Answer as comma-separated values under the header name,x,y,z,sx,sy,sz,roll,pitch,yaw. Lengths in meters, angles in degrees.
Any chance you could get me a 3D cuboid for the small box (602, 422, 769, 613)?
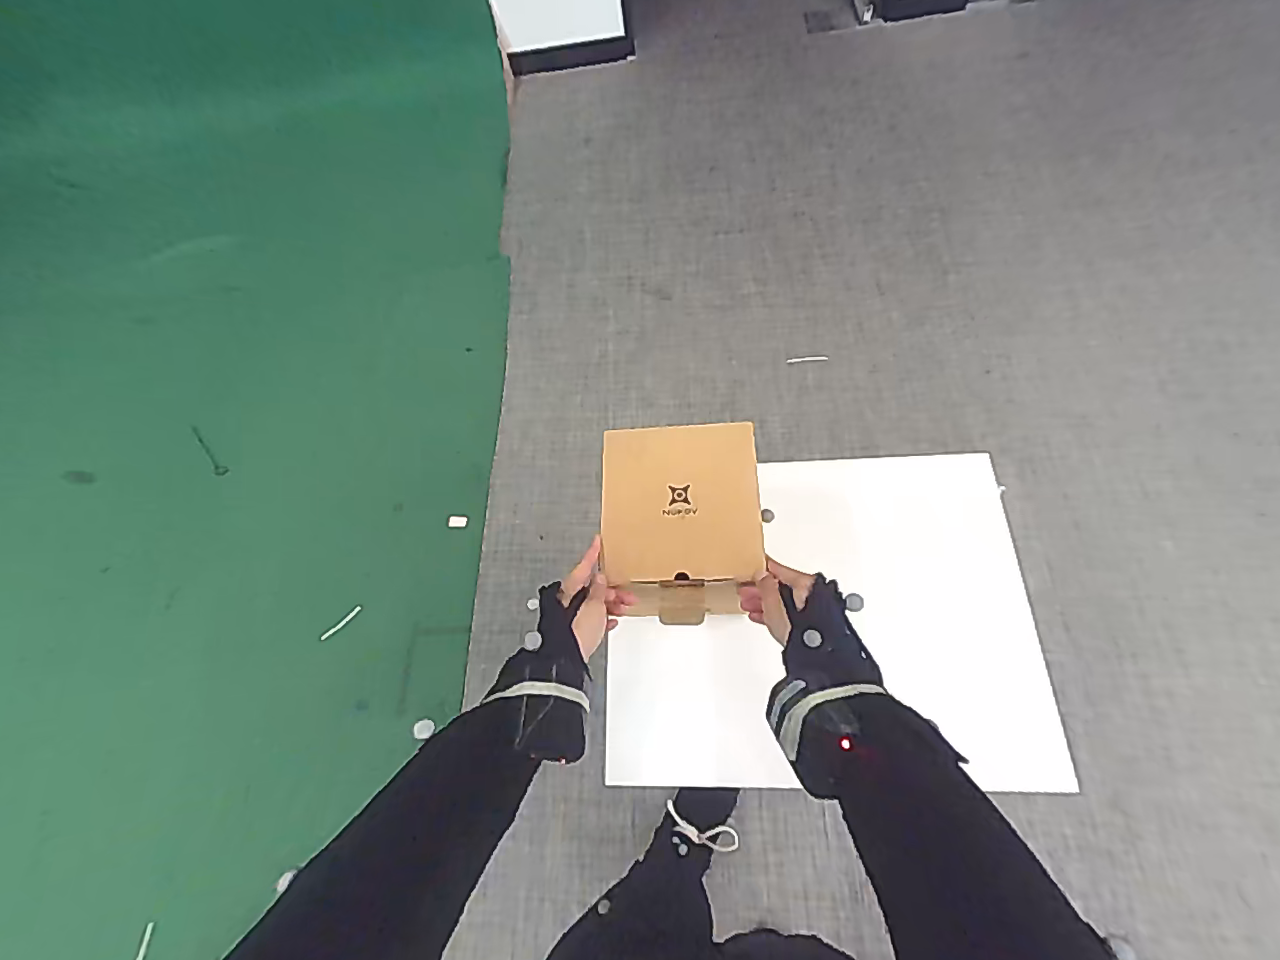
name,x,y,z,sx,sy,sz,roll,pitch,yaw
small box,0.052,0.051,0.631,0.168,0.176,0.179,-3,66,6
